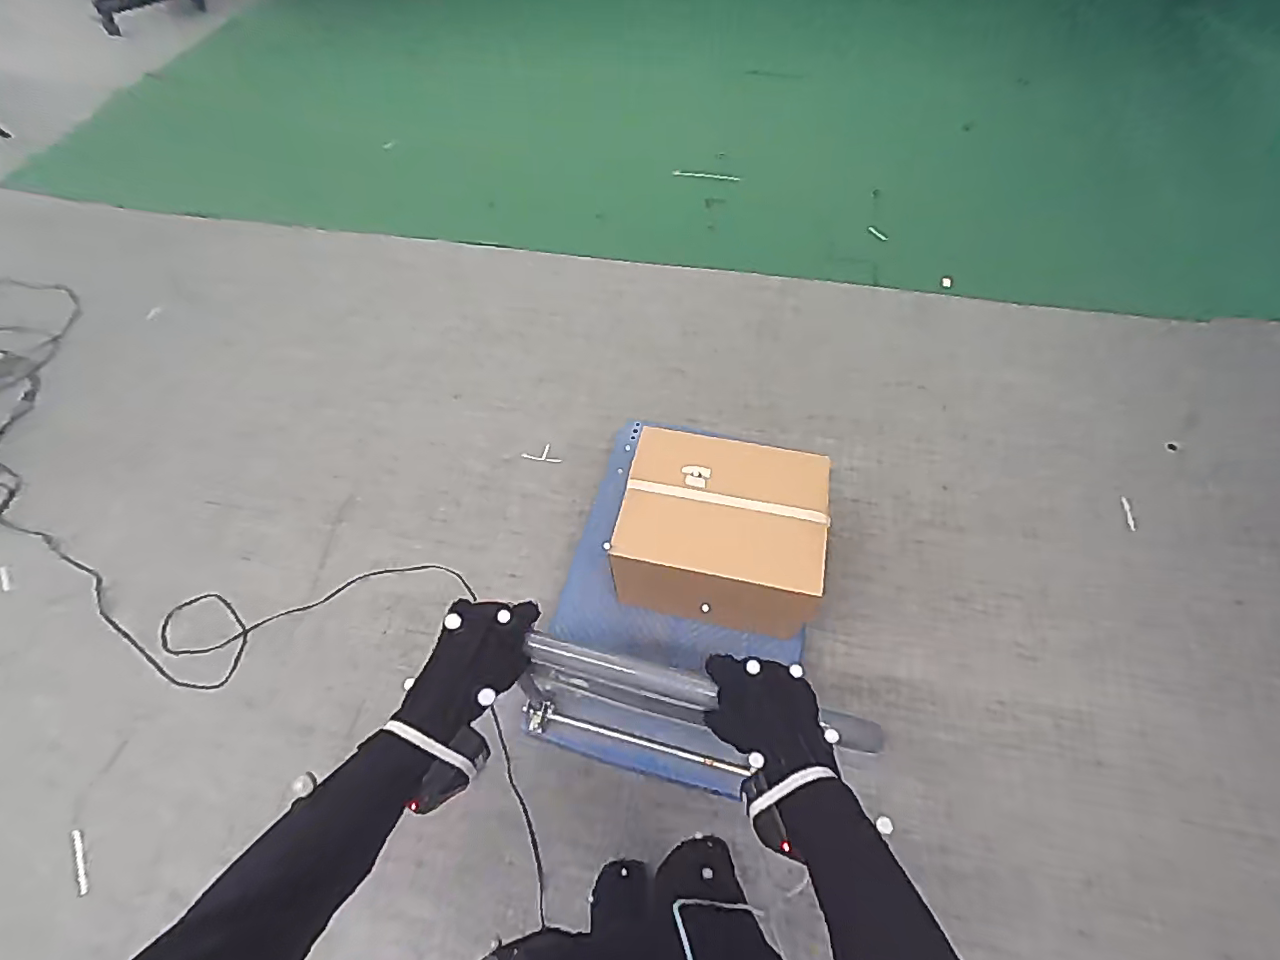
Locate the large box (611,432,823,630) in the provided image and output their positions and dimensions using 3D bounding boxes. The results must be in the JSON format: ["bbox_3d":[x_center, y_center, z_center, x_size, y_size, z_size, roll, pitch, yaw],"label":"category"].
[{"bbox_3d":[0.175,0.124,1.228,0.408,0.320,0.320,9,60,9],"label":"large box"}]
